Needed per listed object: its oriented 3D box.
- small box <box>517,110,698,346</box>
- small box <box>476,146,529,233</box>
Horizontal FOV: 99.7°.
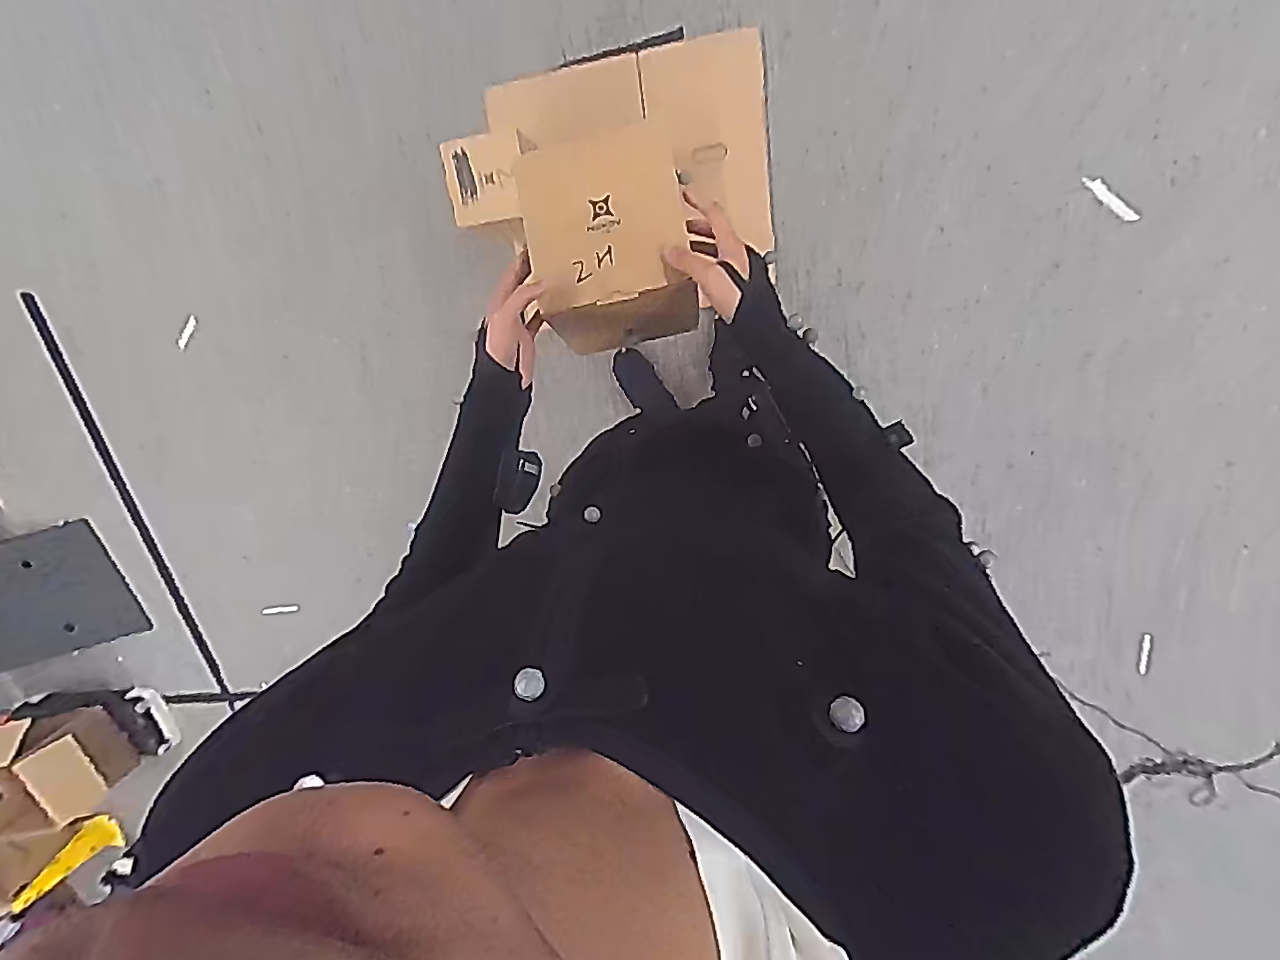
[{"bbox_3d":[-0.027,-0.276,0.631,0.168,0.176,0.179,-10,89,7],"label":"small box"},{"bbox_3d":[-0.281,-0.728,1.360,0.179,0.176,0.168,-5,109,11],"label":"small box"}]
